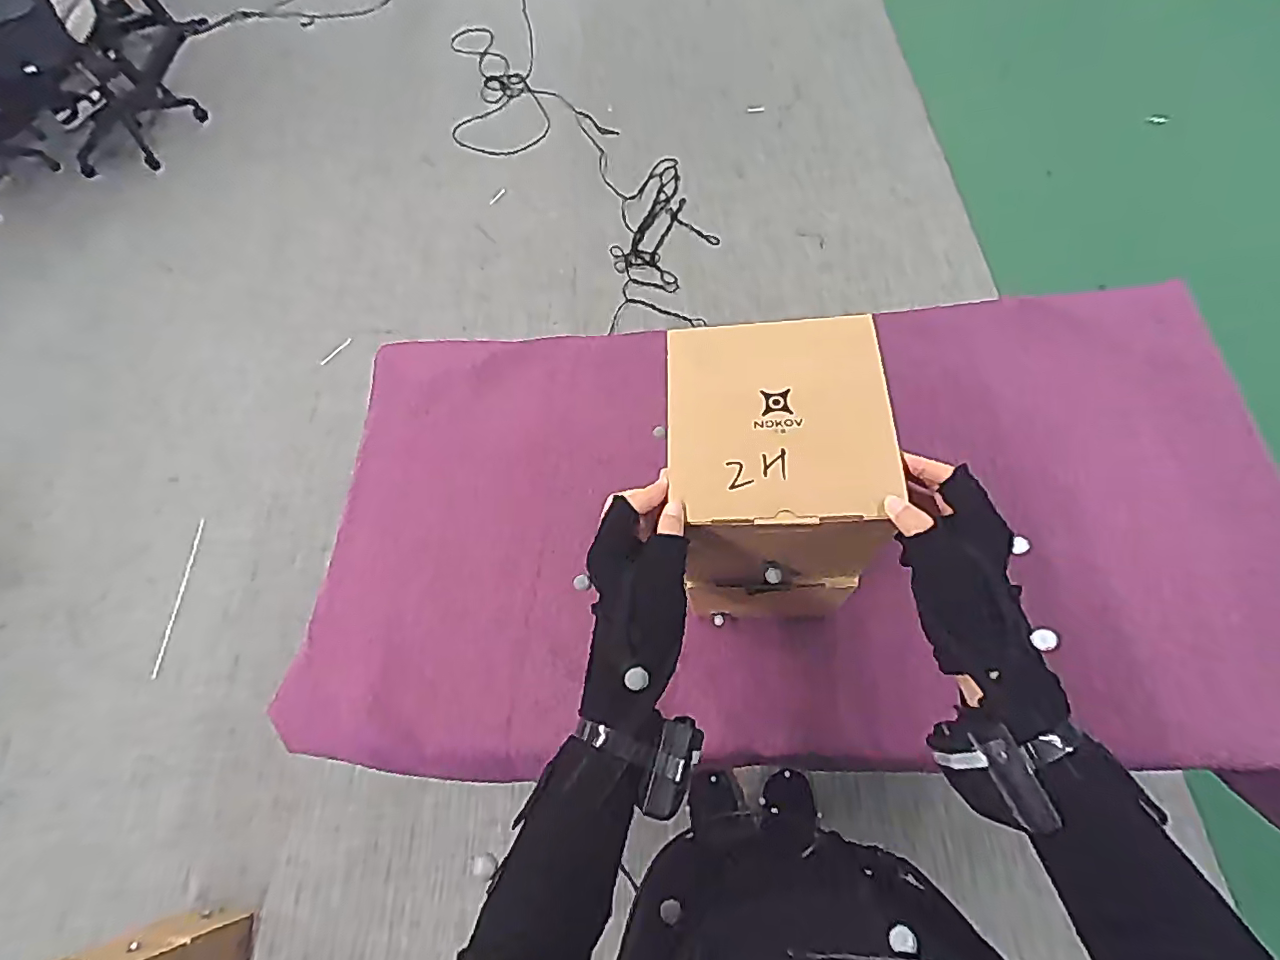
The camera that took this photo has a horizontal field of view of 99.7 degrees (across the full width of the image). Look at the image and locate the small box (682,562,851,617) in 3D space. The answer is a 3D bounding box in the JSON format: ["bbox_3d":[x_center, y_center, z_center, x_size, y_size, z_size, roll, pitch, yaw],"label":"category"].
[{"bbox_3d":[0.139,0.060,0.632,0.168,0.176,0.179,-2,64,8],"label":"small box"}]

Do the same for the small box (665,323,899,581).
[{"bbox_3d":[0.113,-0.015,0.489,0.168,0.176,0.179,-1,66,8],"label":"small box"}]
